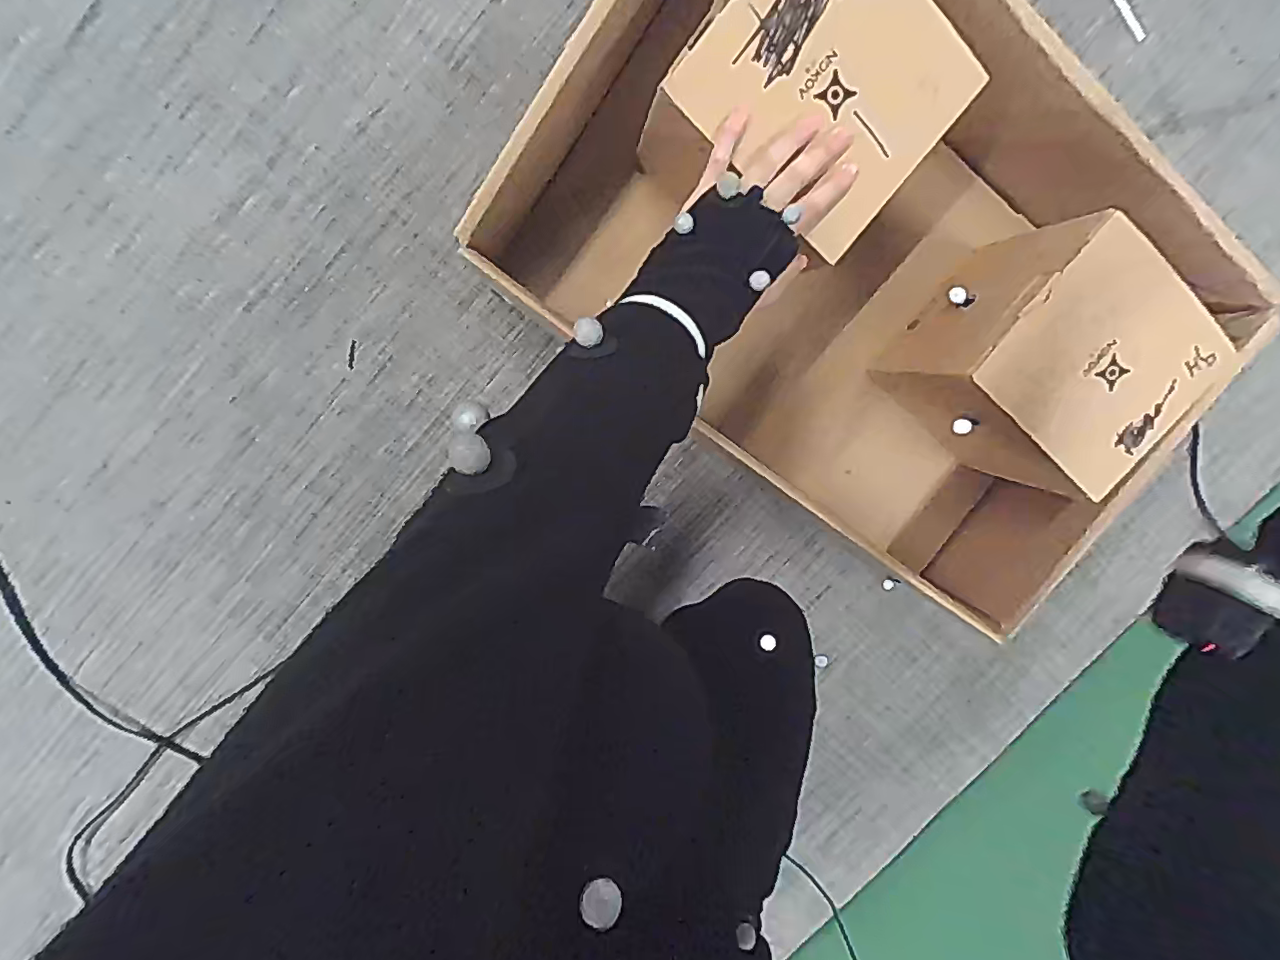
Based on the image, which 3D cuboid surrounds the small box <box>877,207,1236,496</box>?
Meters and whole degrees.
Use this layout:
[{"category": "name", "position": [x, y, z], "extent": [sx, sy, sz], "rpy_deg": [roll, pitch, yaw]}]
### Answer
[{"category": "small box", "position": [0.369, -0.113, 0.516], "extent": [0.179, 0.176, 0.168], "rpy_deg": [39, 97, -11]}]
